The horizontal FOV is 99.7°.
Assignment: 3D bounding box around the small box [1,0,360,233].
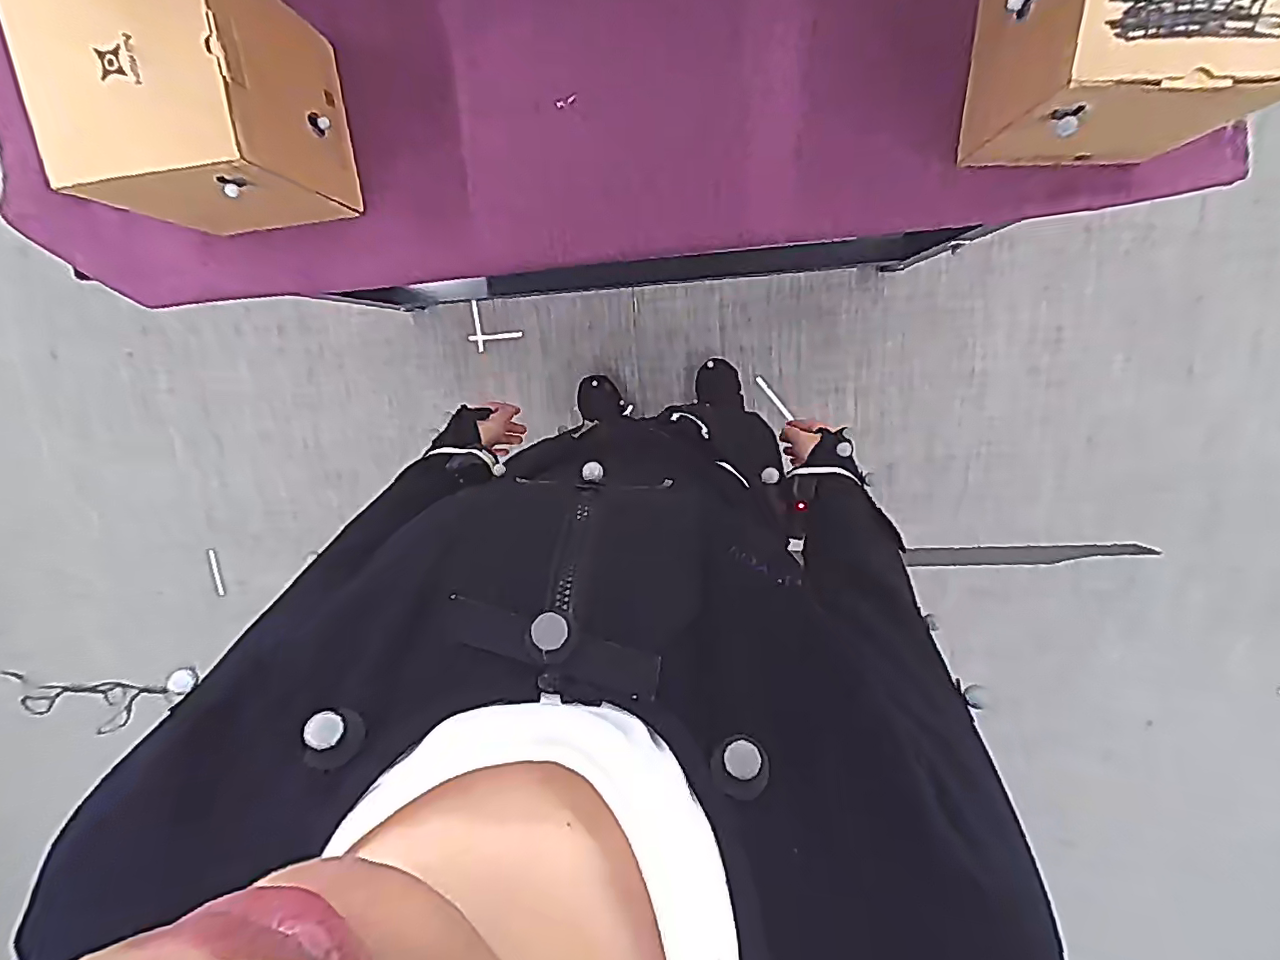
[{"bbox_3d":[-0.402,-0.344,0.502,0.179,0.176,0.168,-5,102,7],"label":"small box"}]
